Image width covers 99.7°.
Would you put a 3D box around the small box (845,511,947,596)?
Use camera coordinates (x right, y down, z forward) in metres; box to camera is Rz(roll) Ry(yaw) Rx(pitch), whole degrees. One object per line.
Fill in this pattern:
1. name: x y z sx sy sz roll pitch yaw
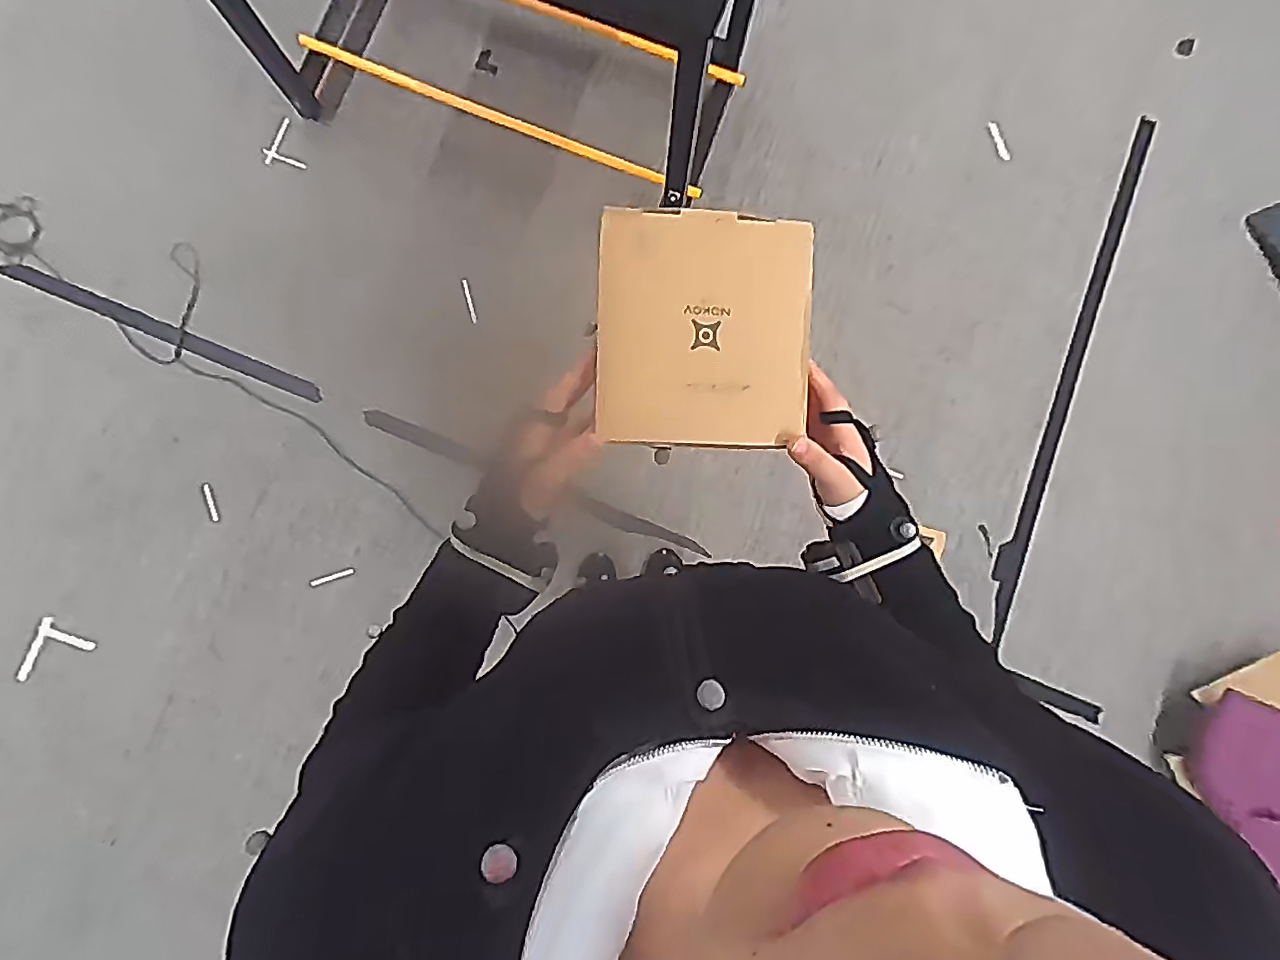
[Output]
1. small box: 0.670 0.191 1.437 0.168 0.176 0.179 19 85 1

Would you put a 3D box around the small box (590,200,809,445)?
1. small box: 0.040 -0.123 0.492 0.168 0.176 0.179 1 93 -5
